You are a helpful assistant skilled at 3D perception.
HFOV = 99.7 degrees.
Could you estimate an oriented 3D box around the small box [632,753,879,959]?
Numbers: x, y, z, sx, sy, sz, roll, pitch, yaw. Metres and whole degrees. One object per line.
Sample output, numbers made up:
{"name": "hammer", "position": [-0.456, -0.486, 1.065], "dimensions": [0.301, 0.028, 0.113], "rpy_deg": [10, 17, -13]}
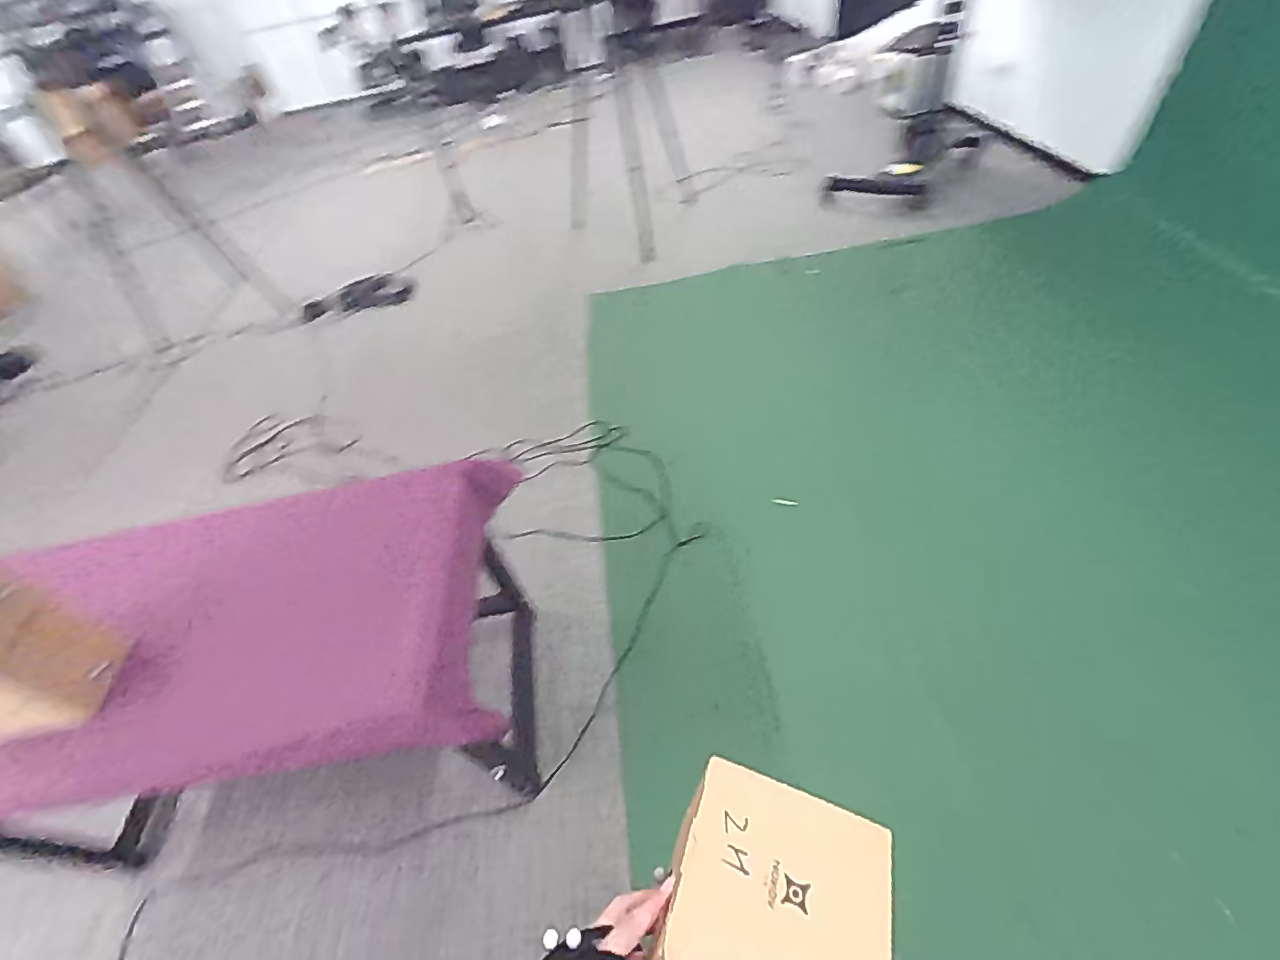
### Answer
{"name": "small box", "position": [0.103, 0.399, 0.503], "dimensions": [0.179, 0.176, 0.168], "rpy_deg": [17, 39, 12]}
